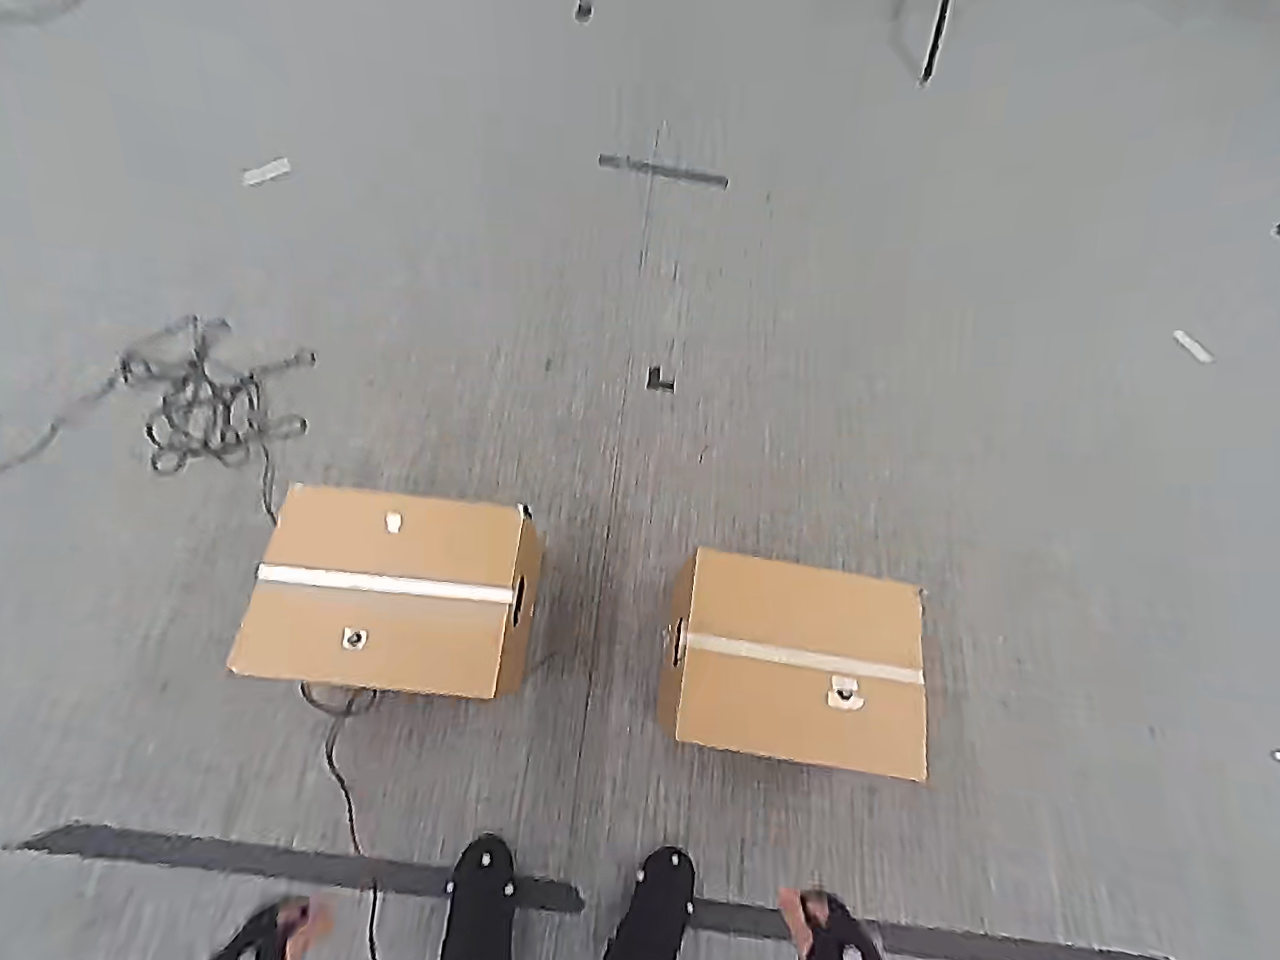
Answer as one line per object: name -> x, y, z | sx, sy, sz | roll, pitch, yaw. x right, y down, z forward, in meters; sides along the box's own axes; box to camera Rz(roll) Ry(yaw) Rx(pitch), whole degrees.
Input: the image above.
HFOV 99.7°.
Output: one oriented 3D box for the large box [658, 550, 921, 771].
large box -> 0.263, 0.348, 1.052 | 0.408, 0.320, 0.320 | 10, 69, -2
